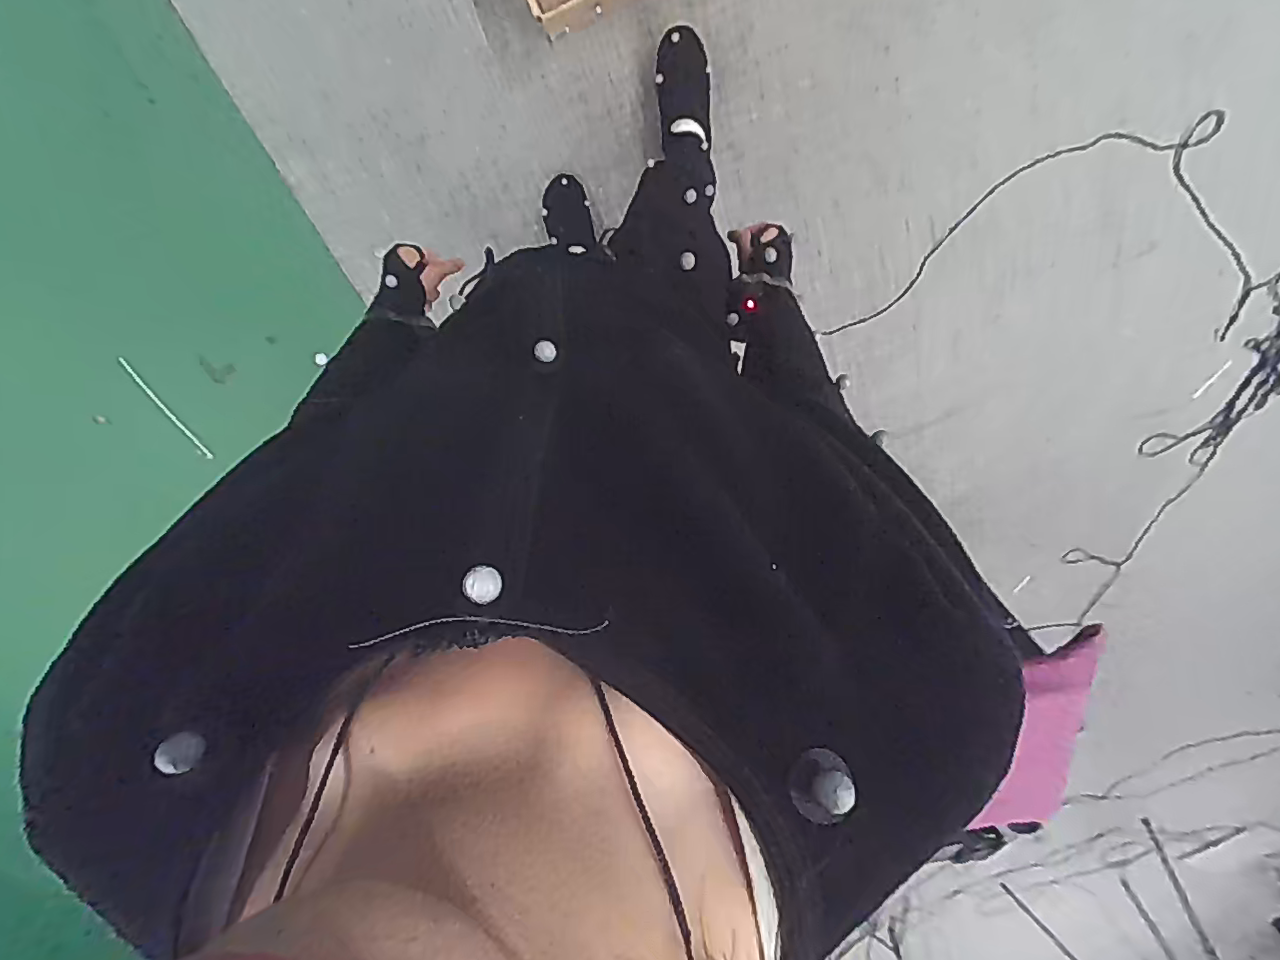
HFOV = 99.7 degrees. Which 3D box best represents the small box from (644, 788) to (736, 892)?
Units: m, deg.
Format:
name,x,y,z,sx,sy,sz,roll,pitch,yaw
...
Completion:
name,x,y,z,sx,sy,sz,roll,pitch,yaw
small box,0.115,0.883,1.306,0.179,0.176,0.168,-20,121,7
